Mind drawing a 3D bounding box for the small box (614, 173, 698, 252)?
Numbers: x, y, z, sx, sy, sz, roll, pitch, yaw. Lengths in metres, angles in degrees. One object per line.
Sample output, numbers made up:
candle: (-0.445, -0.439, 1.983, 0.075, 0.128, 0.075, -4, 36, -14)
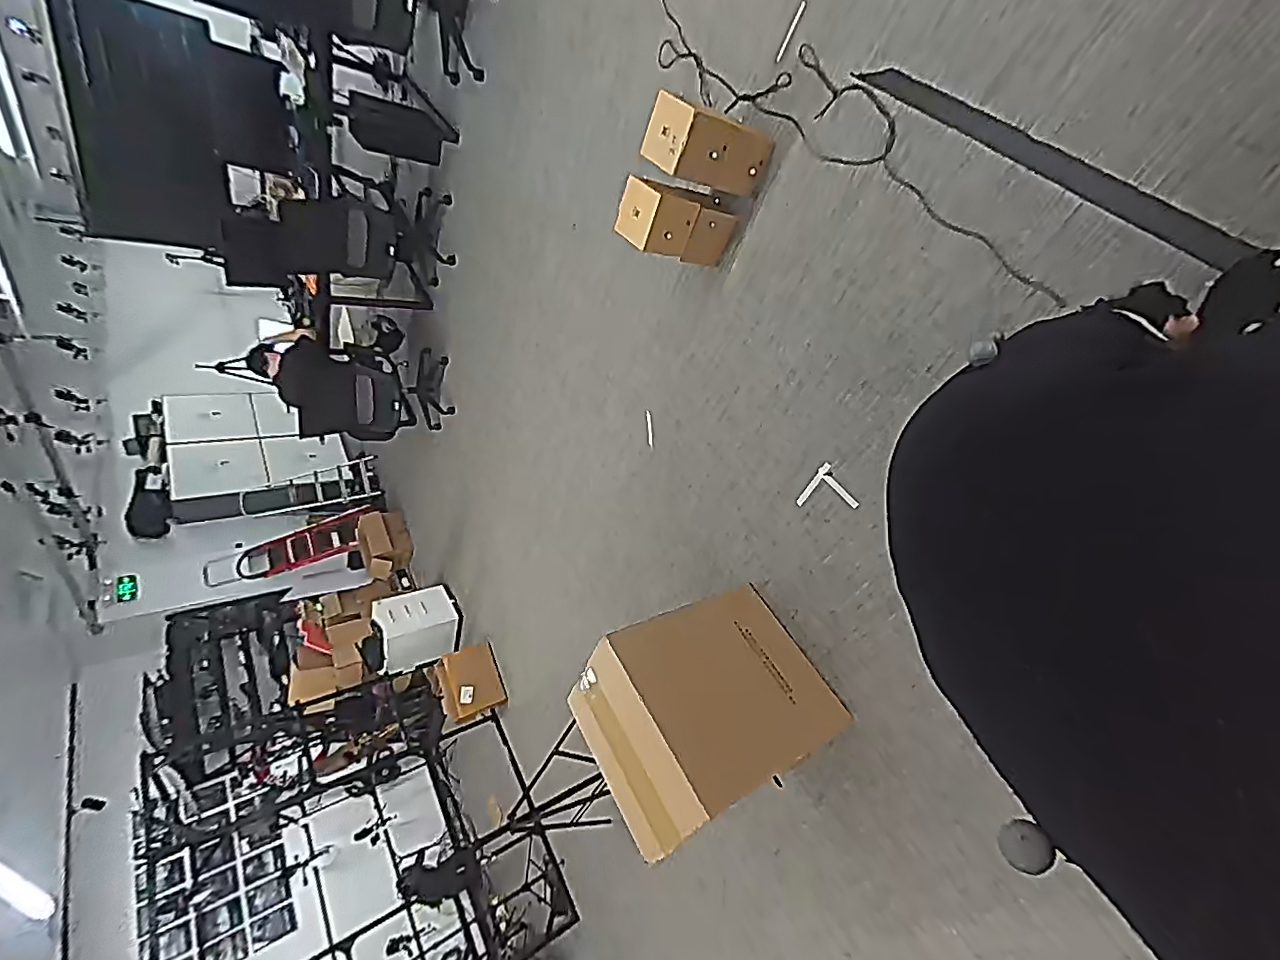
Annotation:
small box: (0.051, -0.820, 1.670, 0.179, 0.176, 0.168, 51, 134, 34)

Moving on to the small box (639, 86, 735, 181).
small box: (0.132, -0.970, 1.525, 0.179, 0.176, 0.168, 53, 136, 30)

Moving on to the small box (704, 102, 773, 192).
small box: (0.261, -0.994, 1.626, 0.179, 0.176, 0.168, 54, 136, 29)
